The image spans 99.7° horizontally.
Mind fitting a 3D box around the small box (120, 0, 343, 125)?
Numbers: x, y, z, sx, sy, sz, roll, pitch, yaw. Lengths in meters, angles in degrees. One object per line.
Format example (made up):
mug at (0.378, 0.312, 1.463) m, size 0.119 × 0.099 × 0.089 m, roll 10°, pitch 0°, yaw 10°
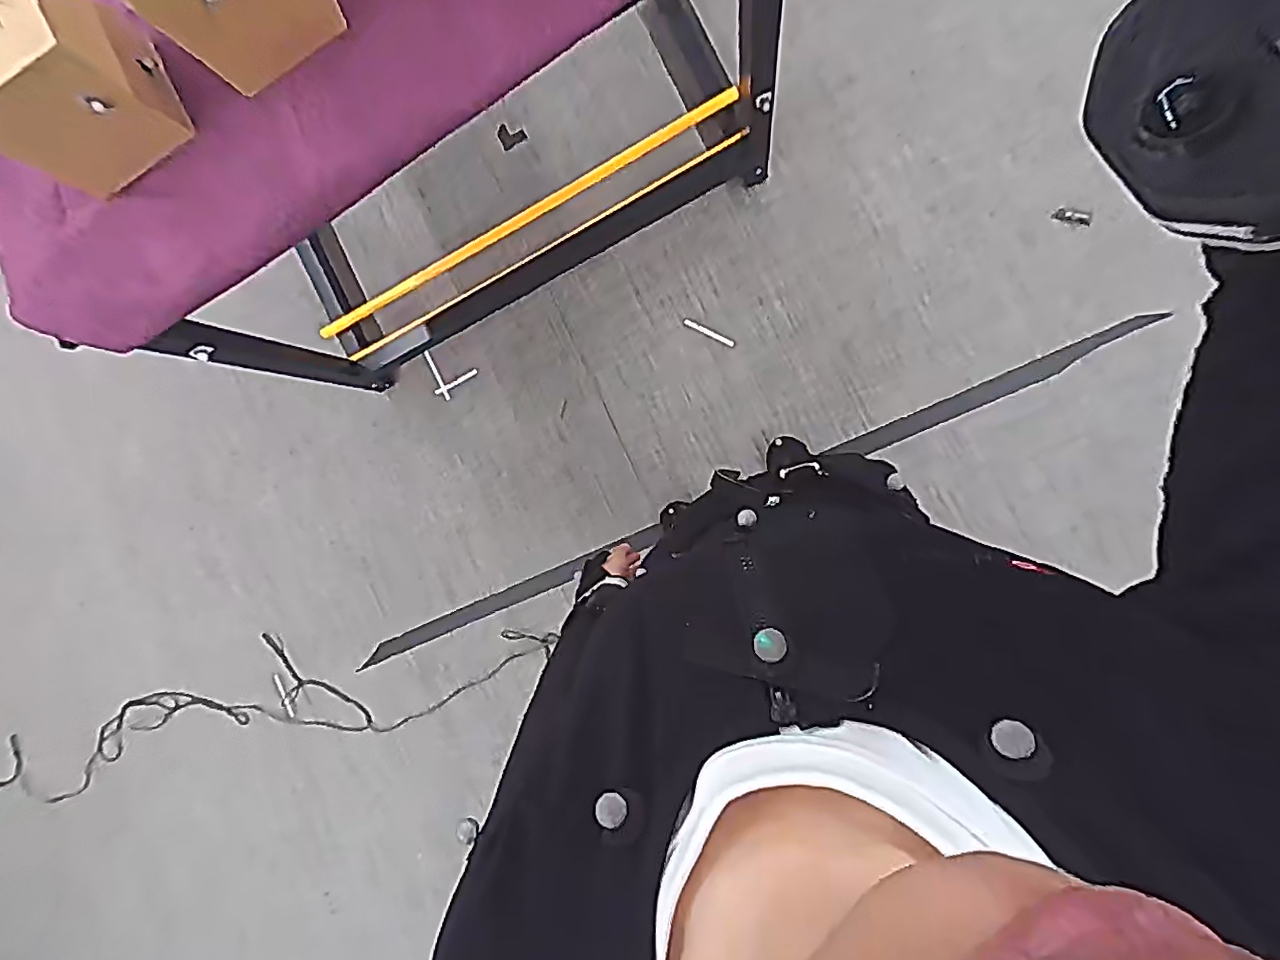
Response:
small box at (-0.513, -0.608, 0.682) m, size 0.179 × 0.176 × 0.168 m, roll -27°, pitch 86°, yaw 11°
